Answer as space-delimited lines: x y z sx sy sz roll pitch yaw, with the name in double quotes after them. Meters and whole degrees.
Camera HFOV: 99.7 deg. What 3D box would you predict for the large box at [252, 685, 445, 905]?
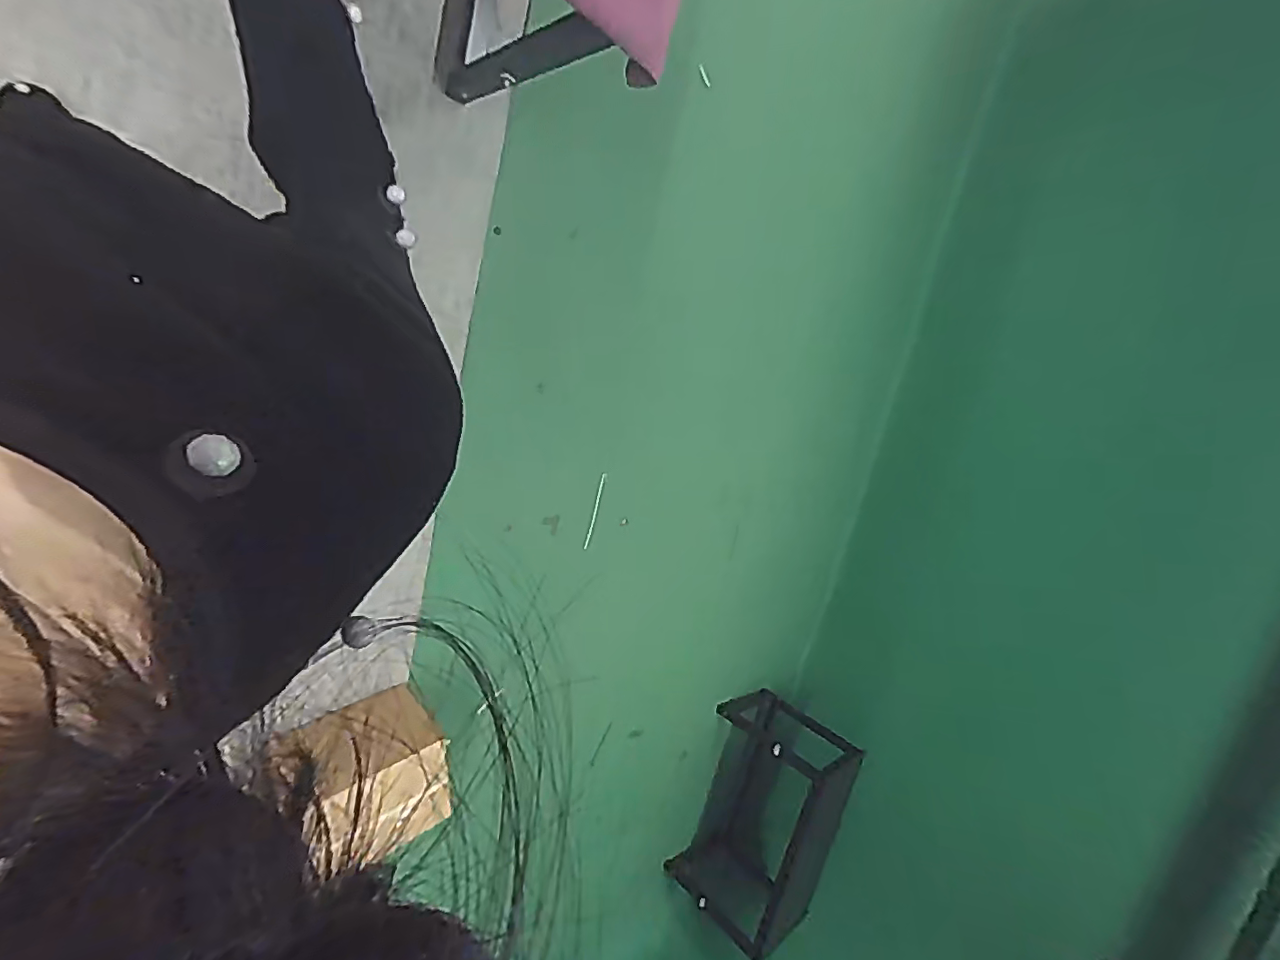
-0.838 0.883 1.580 0.408 0.320 0.320 -15 118 -43 "large box"
